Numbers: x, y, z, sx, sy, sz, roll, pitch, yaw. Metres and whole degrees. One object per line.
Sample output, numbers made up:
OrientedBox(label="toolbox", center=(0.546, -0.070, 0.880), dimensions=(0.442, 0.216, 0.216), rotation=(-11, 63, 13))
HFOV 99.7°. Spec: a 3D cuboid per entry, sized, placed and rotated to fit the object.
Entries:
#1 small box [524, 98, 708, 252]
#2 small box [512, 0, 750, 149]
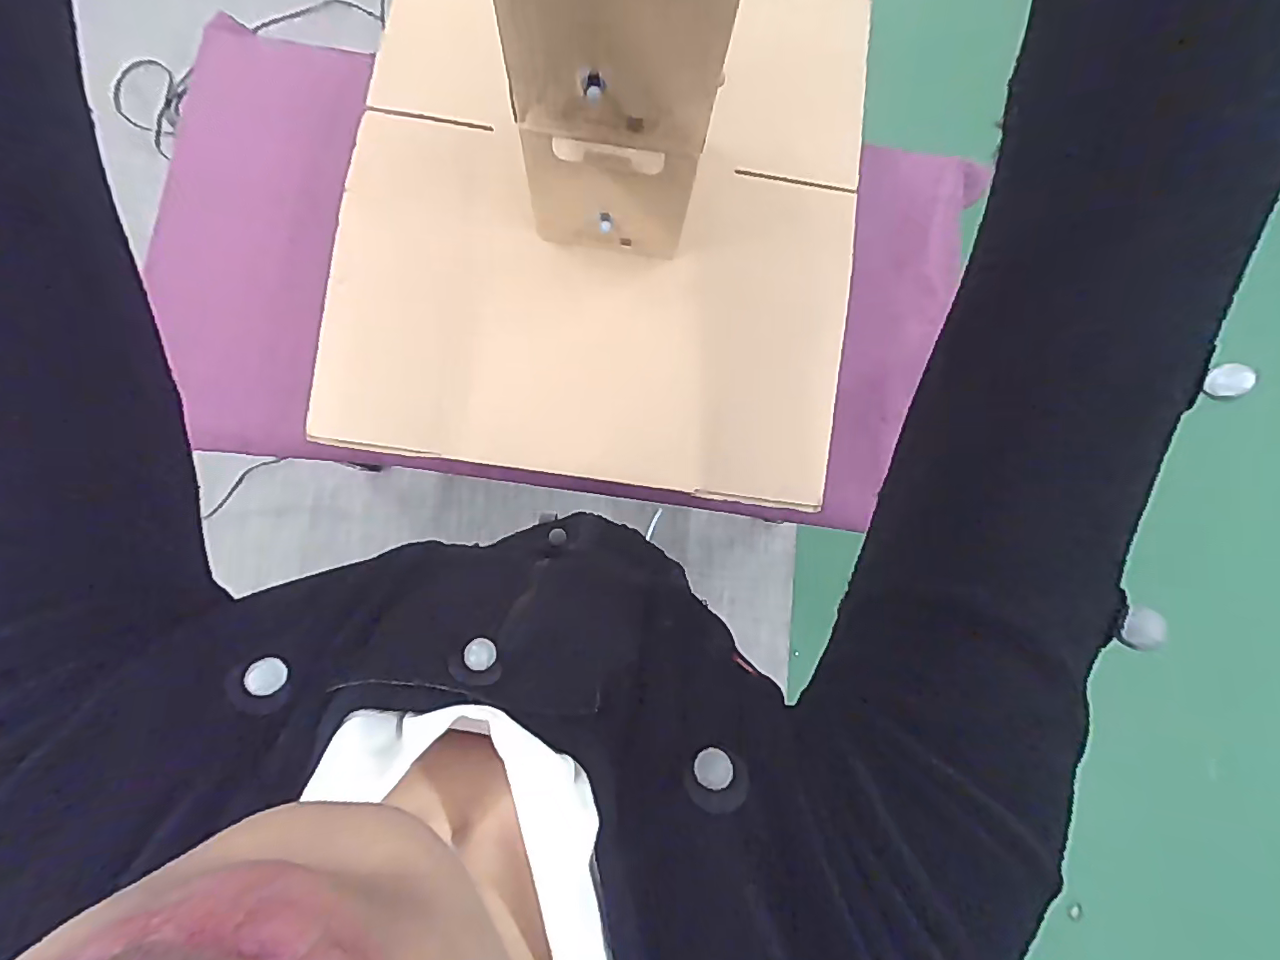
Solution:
OrientedBox(label="small box", center=(-0.017, -0.375, 0.567), dimensions=(0.168, 0.176, 0.179), rotation=(8, 82, -3))
OrientedBox(label="small box", center=(-0.004, -0.397, 0.406), dimensions=(0.168, 0.176, 0.179), rotation=(7, 82, -4))
